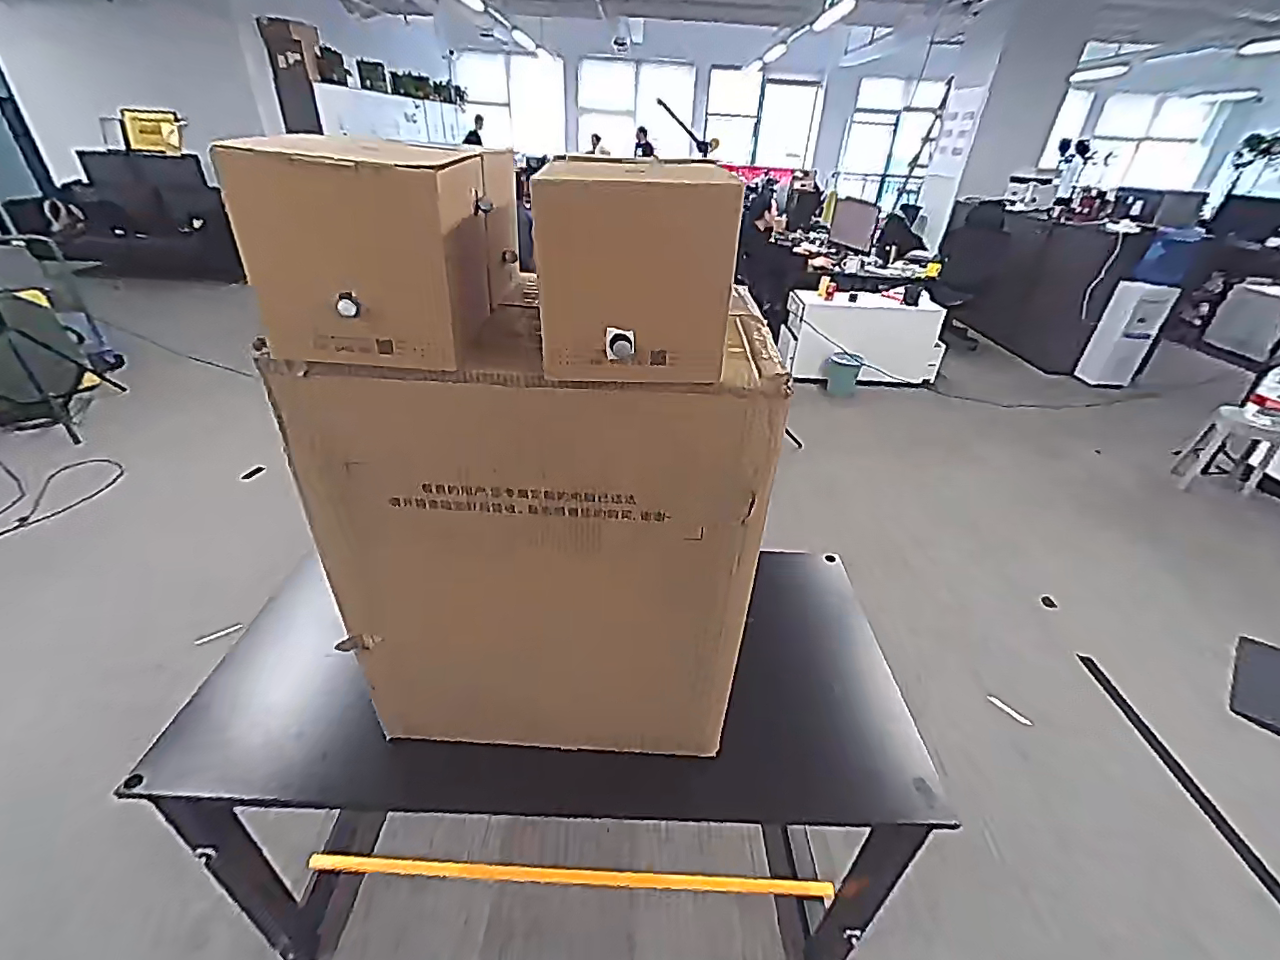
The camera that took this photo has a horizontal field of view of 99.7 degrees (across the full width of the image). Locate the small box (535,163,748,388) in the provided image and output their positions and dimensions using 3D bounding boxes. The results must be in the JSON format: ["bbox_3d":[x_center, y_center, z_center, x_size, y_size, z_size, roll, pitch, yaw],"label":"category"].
[{"bbox_3d":[-0.004,-0.200,0.521,0.168,0.176,0.179,-1,35,-3],"label":"small box"}]
